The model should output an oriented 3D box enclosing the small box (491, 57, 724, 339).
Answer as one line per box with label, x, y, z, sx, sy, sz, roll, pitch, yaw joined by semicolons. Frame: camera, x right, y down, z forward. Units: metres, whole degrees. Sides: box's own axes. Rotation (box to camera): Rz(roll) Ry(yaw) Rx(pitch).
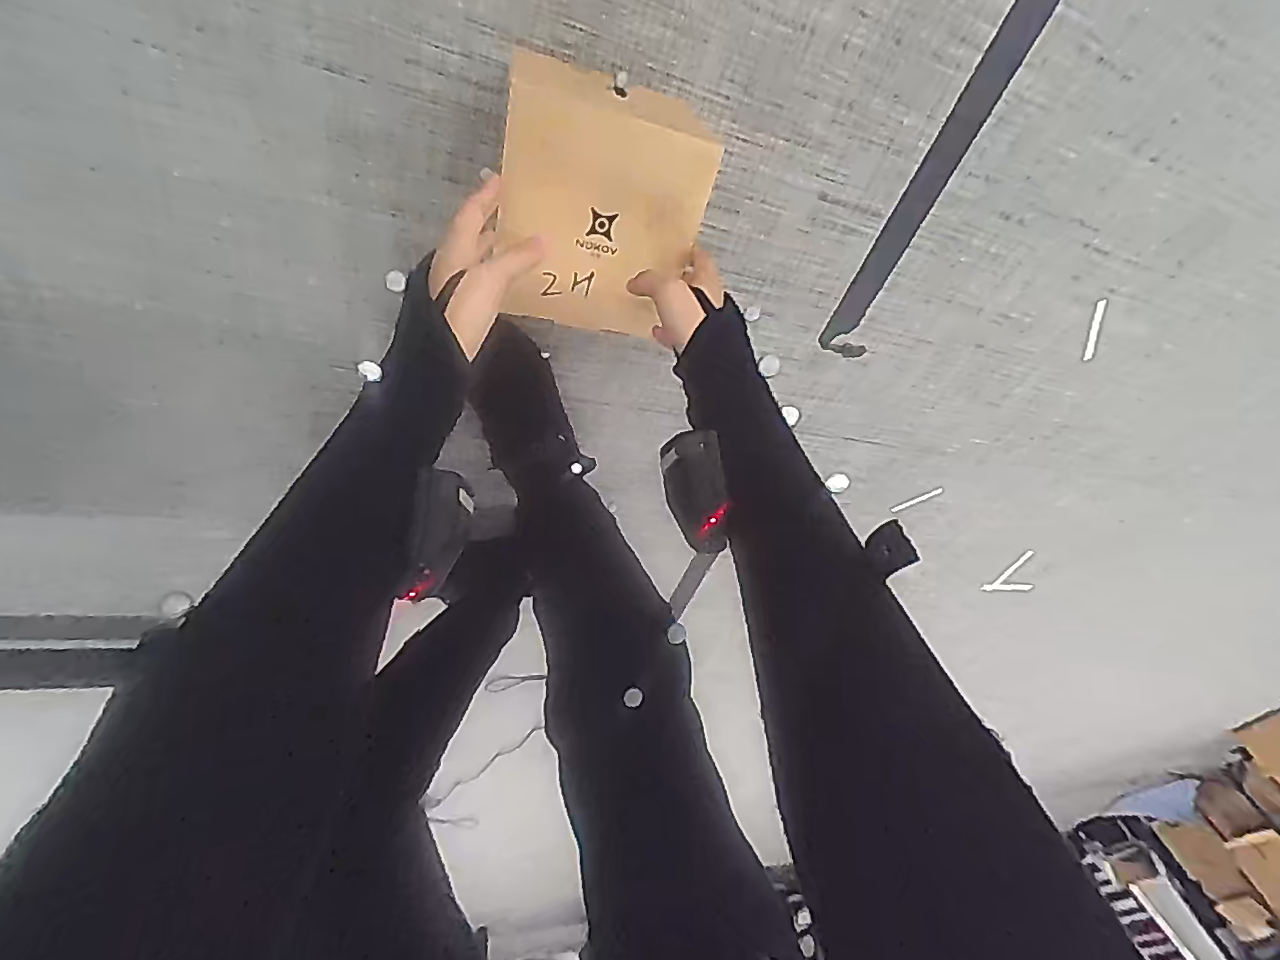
small box;-0.046;-0.262;0.506;0.168;0.176;0.179;6;132;-17
